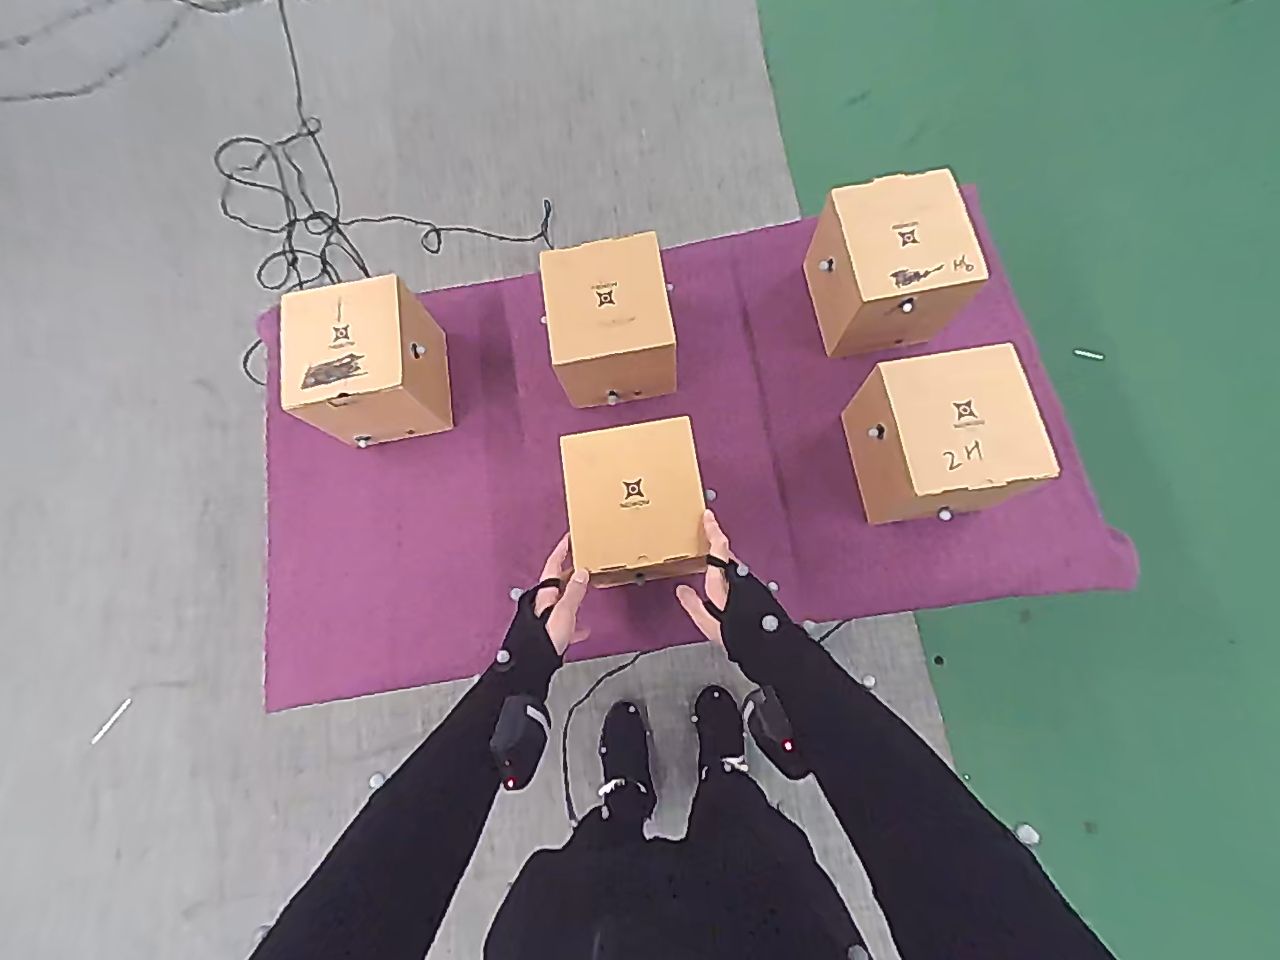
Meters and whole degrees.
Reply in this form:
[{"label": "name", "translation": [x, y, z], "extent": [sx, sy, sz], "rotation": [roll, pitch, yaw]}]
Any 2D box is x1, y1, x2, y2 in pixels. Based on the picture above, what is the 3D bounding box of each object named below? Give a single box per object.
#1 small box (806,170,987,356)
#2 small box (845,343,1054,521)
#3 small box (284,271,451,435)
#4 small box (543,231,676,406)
[{"label": "small box", "translation": [0.355, -0.306, 0.788], "extent": [0.168, 0.176, 0.179], "rotation": [-10, 76, 2]}, {"label": "small box", "translation": [0.389, -0.055, 0.719], "extent": [0.168, 0.176, 0.179], "rotation": [-8, 74, 3]}, {"label": "small box", "translation": [-0.394, -0.176, 0.807], "extent": [0.168, 0.176, 0.179], "rotation": [-10, 75, 1]}, {"label": "small box", "translation": [-0.040, -0.229, 0.799], "extent": [0.168, 0.176, 0.179], "rotation": [-9, 76, 2]}]
